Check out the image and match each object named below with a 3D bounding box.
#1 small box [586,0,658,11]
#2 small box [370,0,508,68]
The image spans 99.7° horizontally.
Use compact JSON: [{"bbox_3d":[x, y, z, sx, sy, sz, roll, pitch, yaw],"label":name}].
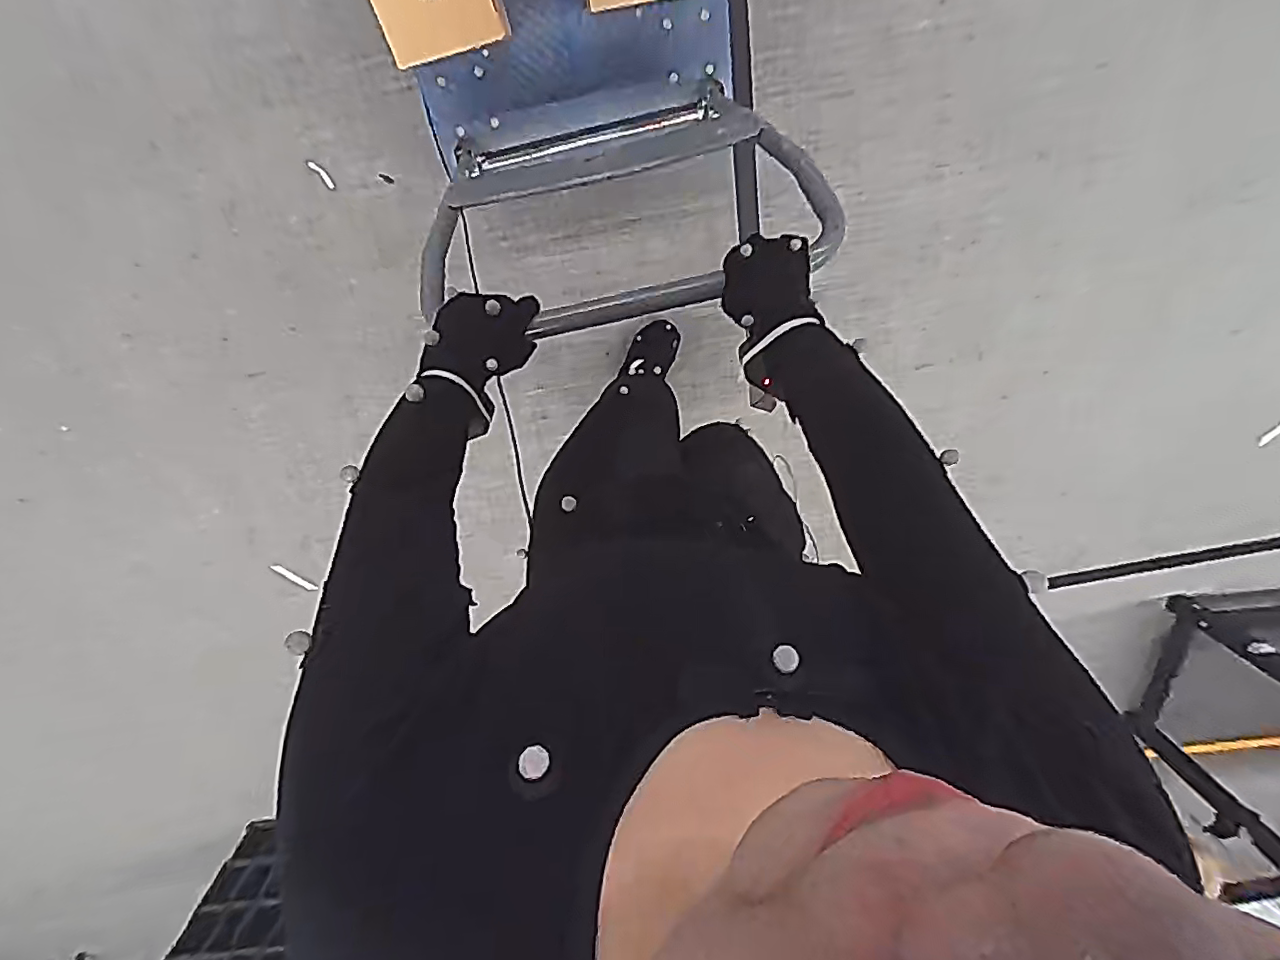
[{"bbox_3d":[-0.011,-0.841,0.829,0.179,0.176,0.168,-10,131,1],"label":"small box"},{"bbox_3d":[-0.320,-0.770,0.846,0.179,0.176,0.168,-16,130,3],"label":"small box"}]
